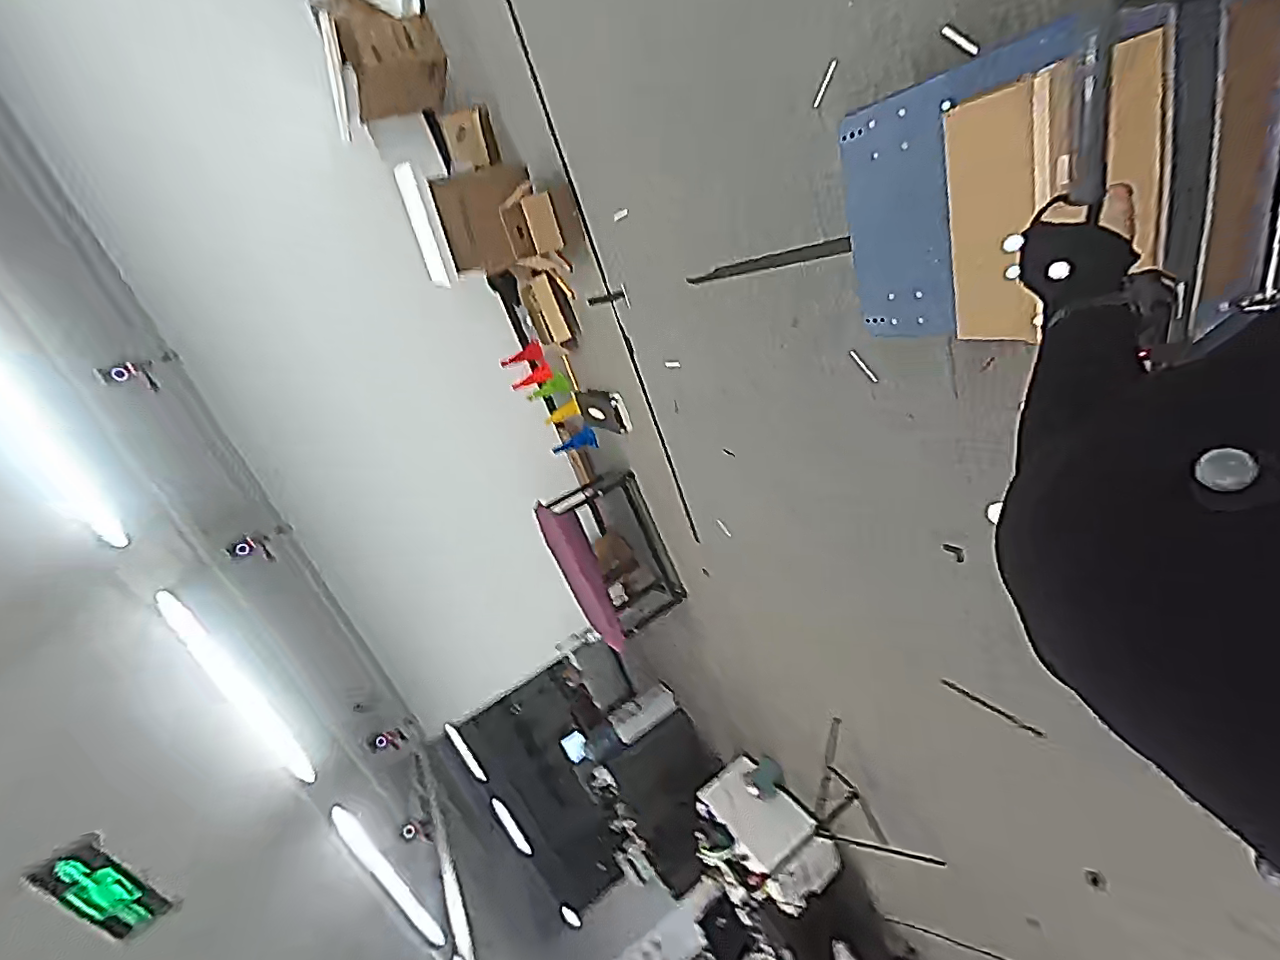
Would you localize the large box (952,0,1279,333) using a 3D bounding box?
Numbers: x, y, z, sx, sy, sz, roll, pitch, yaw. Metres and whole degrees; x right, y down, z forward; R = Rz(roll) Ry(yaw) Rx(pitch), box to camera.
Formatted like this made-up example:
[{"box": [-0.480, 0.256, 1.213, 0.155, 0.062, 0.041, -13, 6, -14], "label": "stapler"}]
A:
[{"box": [0.787, -0.496, 0.918, 0.320, 0.320, 0.408, 23, 136, 57], "label": "large box"}]
